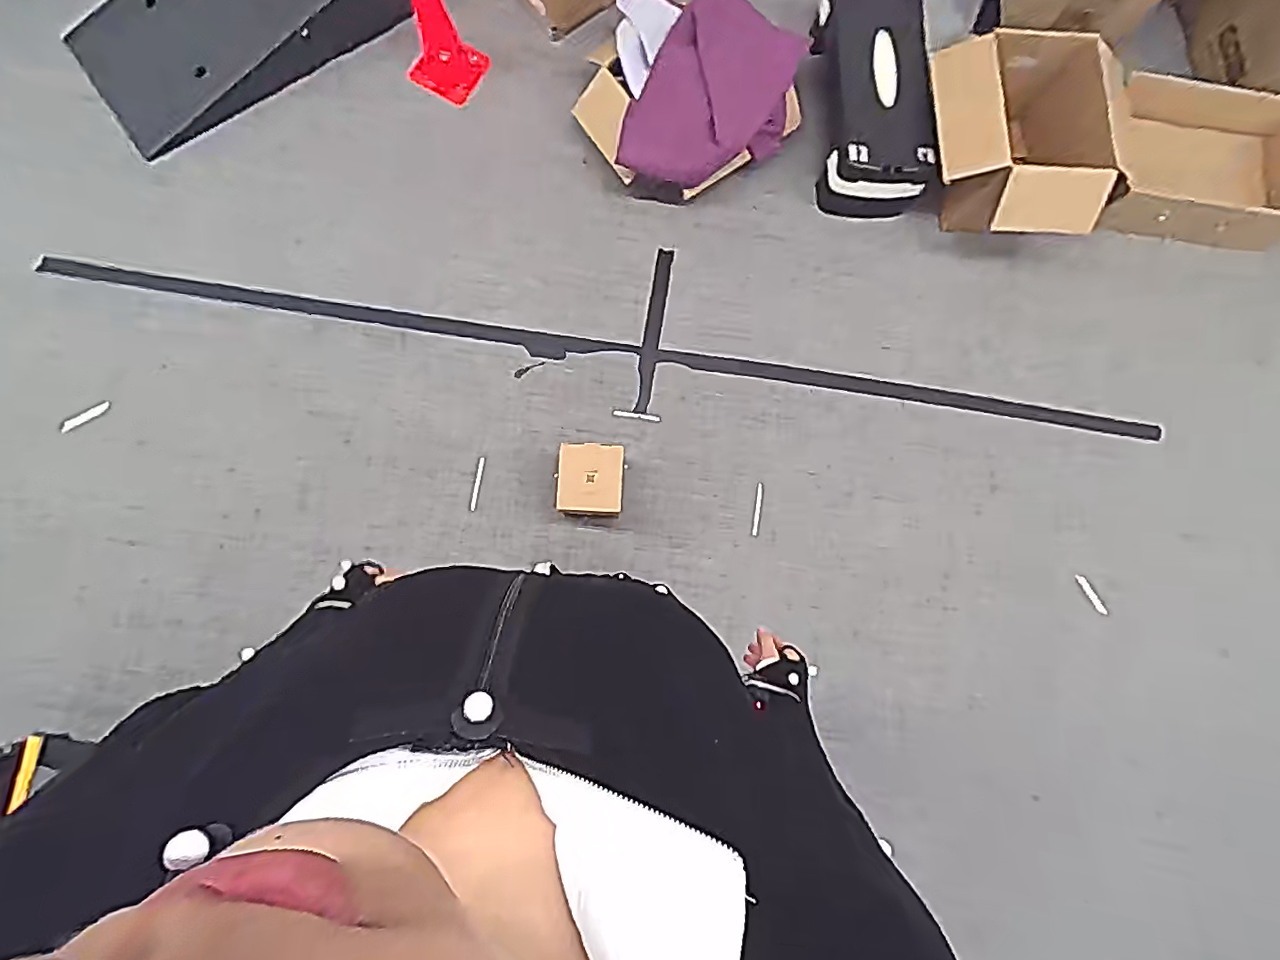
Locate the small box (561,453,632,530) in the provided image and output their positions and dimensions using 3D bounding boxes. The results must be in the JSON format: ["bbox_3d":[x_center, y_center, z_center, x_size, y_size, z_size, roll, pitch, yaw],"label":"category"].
[{"bbox_3d":[-0.110,0.034,1.380,0.168,0.176,0.179,2,83,-2],"label":"small box"}]
